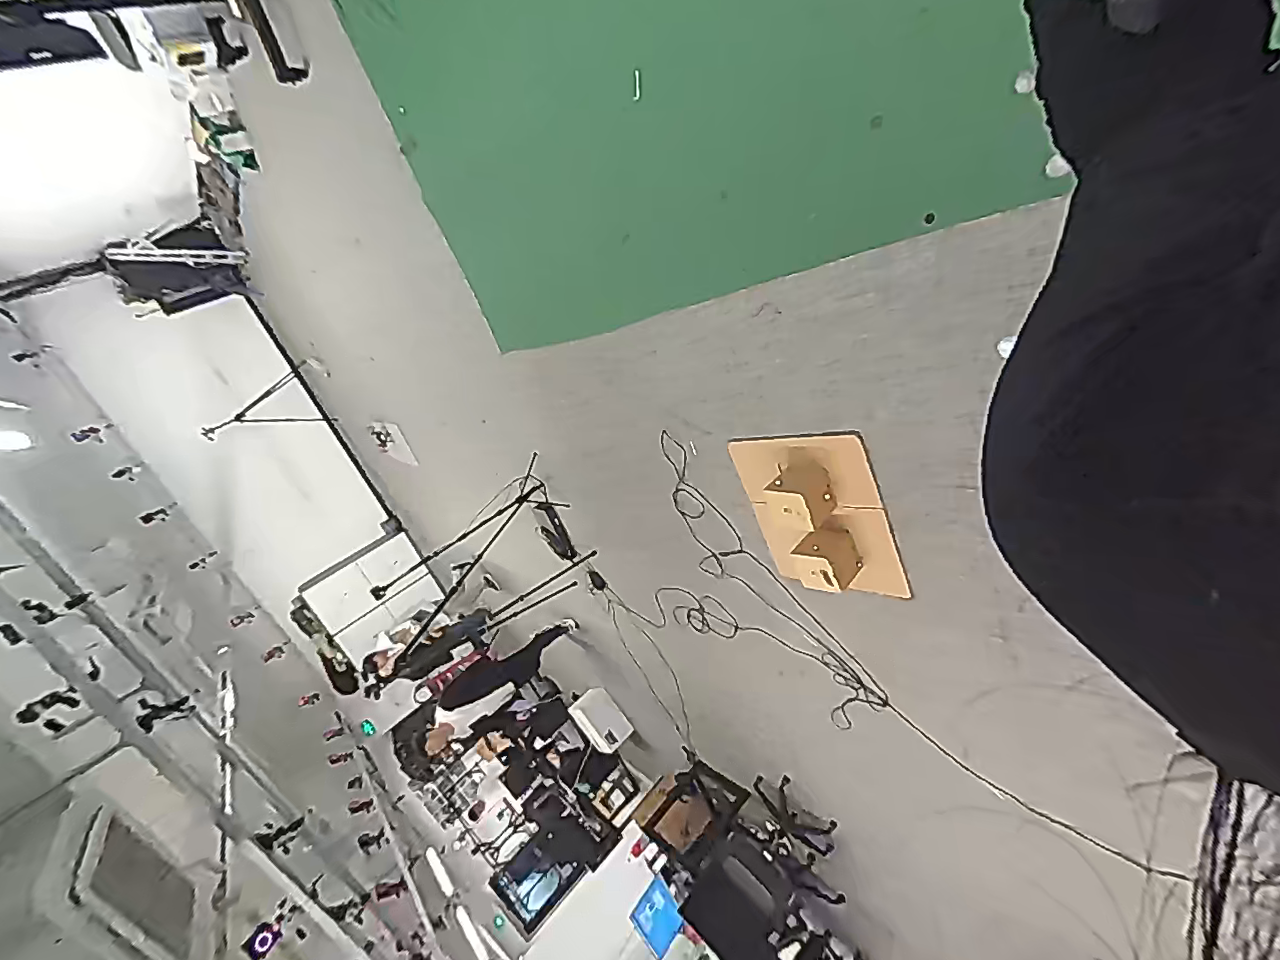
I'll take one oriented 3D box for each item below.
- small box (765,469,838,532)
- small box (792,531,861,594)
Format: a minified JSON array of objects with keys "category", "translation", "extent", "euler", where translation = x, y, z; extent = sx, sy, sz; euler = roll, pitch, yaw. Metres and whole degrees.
[{"category":"small box","translation":[0.600,0.069,2.003],"extent":[0.179,0.176,0.168],"euler":[6,127,51]},{"category":"small box","translation":[0.722,0.310,2.075],"extent":[0.179,0.176,0.168],"euler":[-2,120,55]}]
